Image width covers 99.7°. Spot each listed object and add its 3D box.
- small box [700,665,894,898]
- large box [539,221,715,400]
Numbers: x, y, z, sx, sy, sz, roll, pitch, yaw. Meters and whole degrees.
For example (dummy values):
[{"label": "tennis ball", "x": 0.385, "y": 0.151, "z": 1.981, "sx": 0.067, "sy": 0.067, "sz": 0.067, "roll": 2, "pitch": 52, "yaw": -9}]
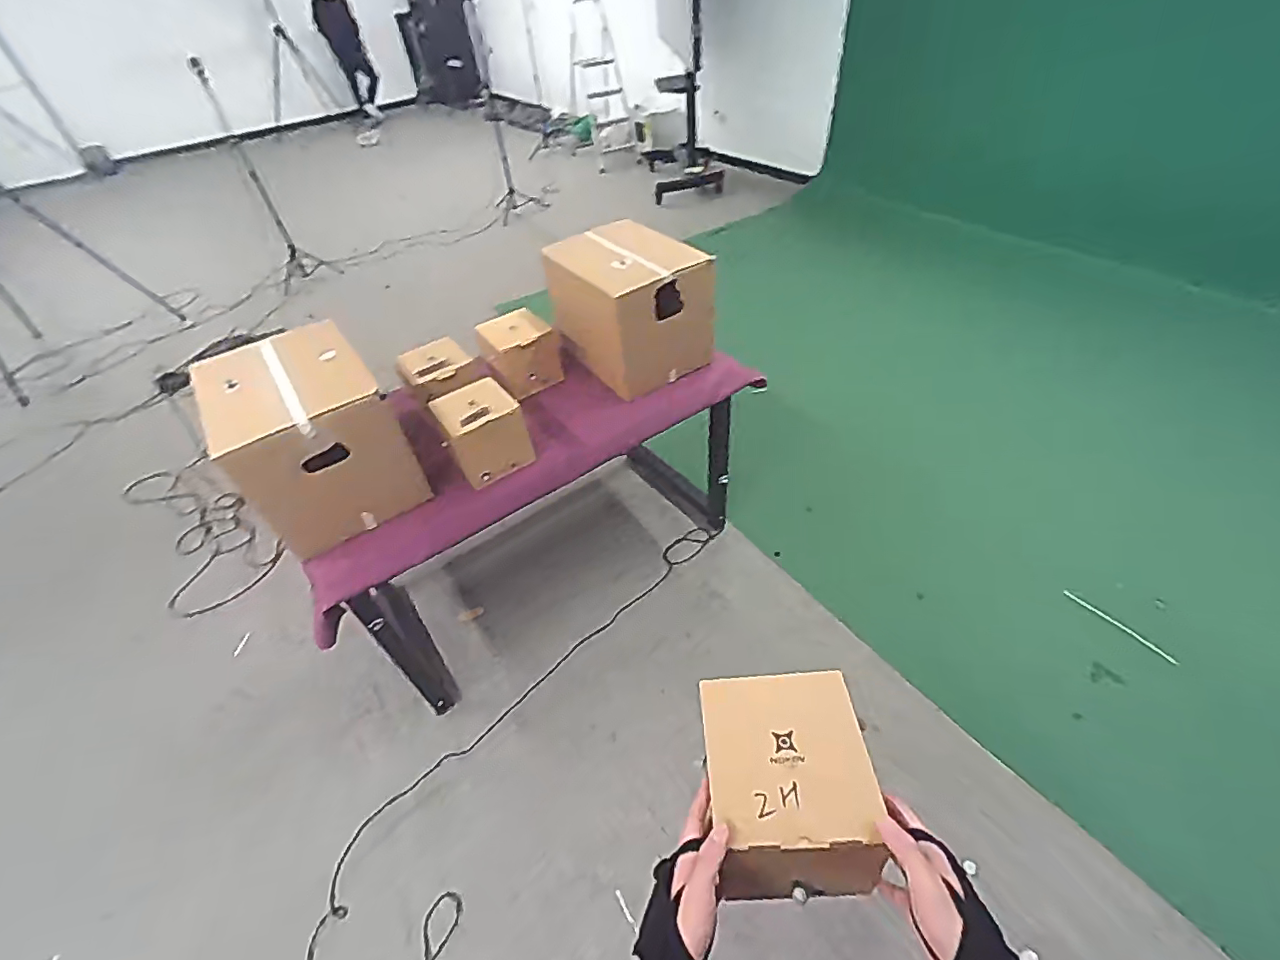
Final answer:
[{"label": "small box", "x": 0.160, "y": 0.337, "z": 0.610, "sx": 0.168, "sy": 0.176, "sz": 0.179, "roll": -7, "pitch": 38, "yaw": 4}, {"label": "large box", "x": -0.036, "y": -0.493, "z": 1.547, "sx": 0.320, "sy": 0.320, "sz": 0.408, "roll": -30, "pitch": 50, "yaw": -21}]
